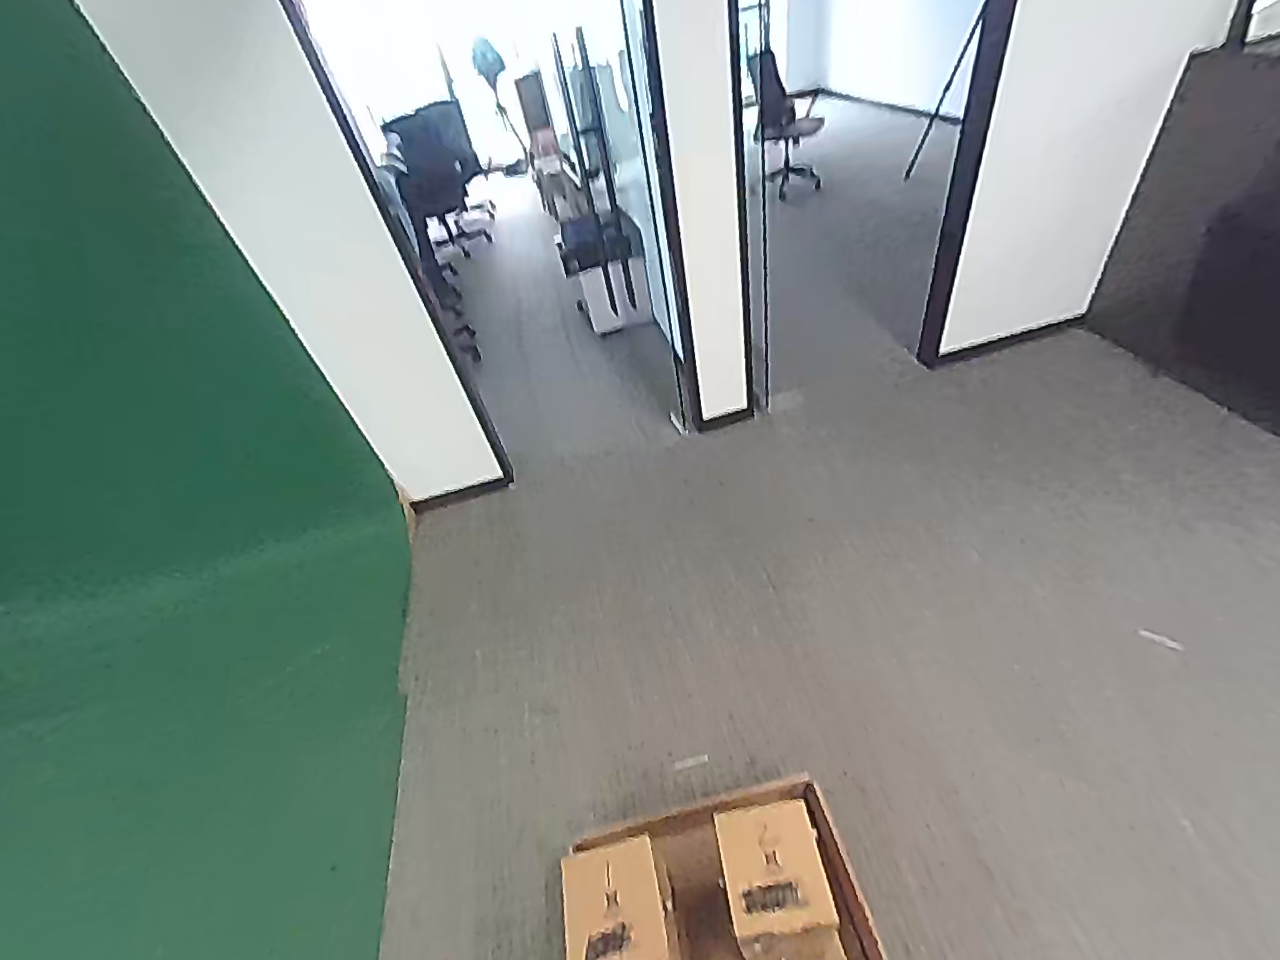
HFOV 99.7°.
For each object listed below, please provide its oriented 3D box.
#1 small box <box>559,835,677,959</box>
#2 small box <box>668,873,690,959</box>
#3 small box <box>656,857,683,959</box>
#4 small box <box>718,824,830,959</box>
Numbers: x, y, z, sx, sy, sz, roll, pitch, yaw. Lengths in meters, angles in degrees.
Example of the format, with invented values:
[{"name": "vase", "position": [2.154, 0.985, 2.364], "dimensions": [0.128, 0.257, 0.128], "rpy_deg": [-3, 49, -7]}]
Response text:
[{"name": "small box", "position": [-0.038, 0.763, 0.952], "dimensions": [0.168, 0.176, 0.179], "rpy_deg": [-14, 42, -2]}, {"name": "small box", "position": [0.013, 0.995, 1.176], "dimensions": [0.168, 0.176, 0.179], "rpy_deg": [-13, 42, 0]}, {"name": "small box", "position": [-0.012, 0.880, 1.065], "dimensions": [0.168, 0.176, 0.179], "rpy_deg": [-12, 43, 0]}, {"name": "small box", "position": [0.257, 0.817, 1.070], "dimensions": [0.168, 0.176, 0.179], "rpy_deg": [-13, 44, 0]}]
